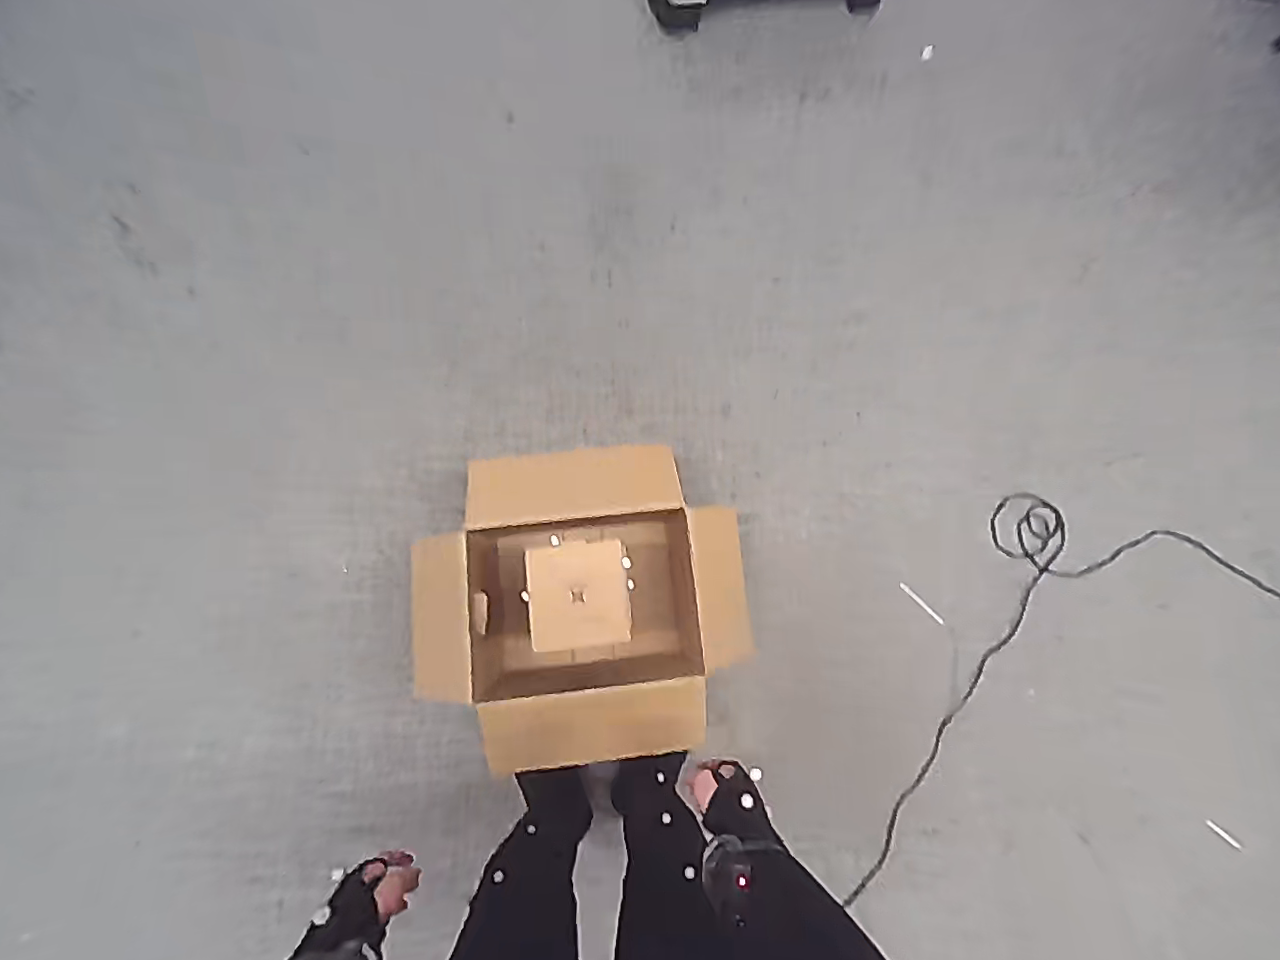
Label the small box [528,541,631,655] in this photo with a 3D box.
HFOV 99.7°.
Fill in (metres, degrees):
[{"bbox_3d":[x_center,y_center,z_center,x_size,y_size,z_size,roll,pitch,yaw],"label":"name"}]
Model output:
[{"bbox_3d":[-0.110,0.209,0.987,0.168,0.176,0.179,-5,82,-5],"label":"small box"}]
